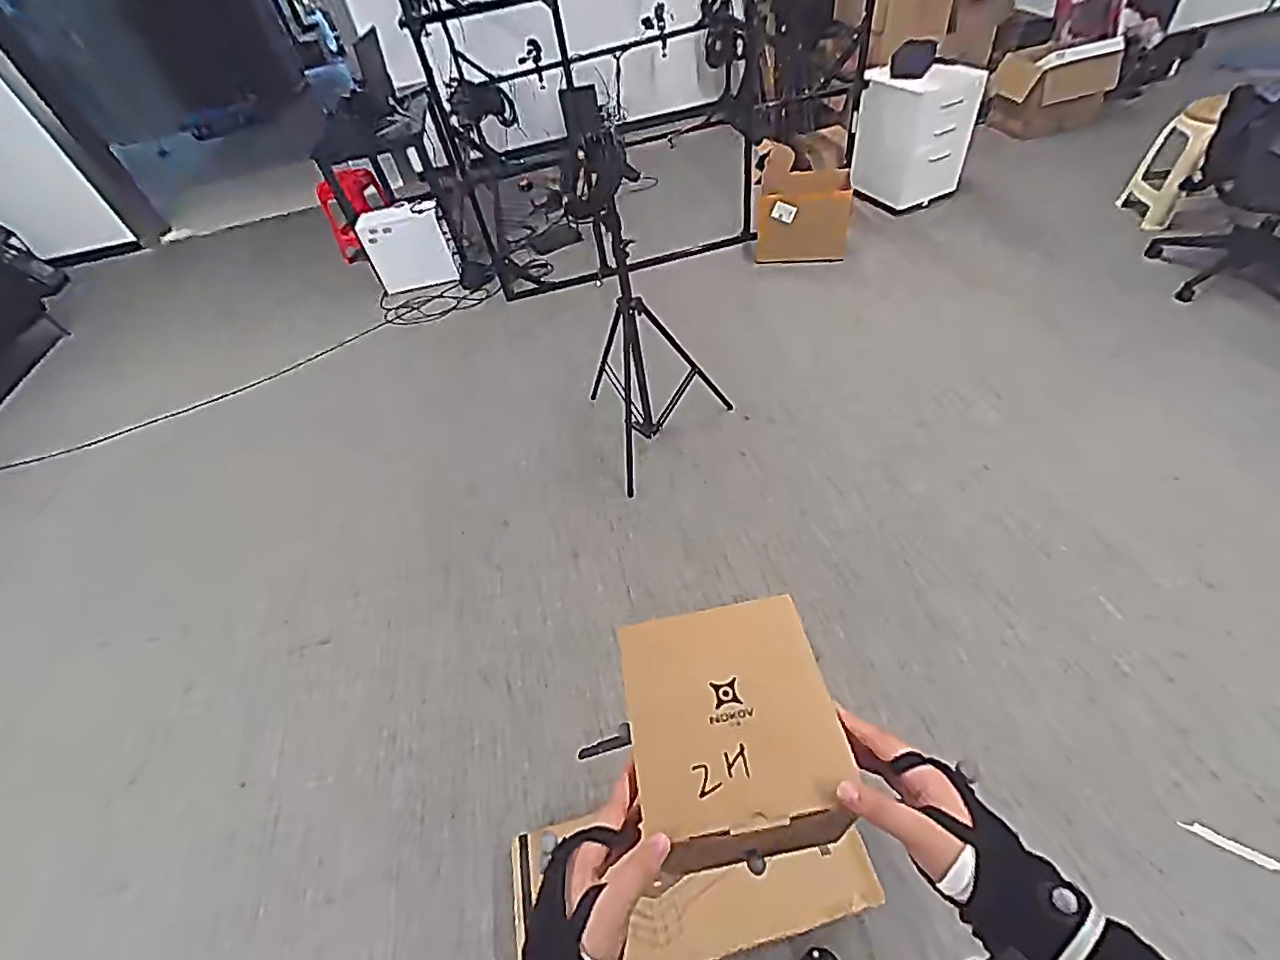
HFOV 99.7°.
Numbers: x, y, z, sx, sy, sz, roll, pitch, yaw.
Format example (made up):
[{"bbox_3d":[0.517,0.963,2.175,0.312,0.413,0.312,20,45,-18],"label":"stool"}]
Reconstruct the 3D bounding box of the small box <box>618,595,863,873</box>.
[{"bbox_3d":[0.079,0.236,0.502,0.168,0.176,0.179,-11,47,0],"label":"small box"}]
